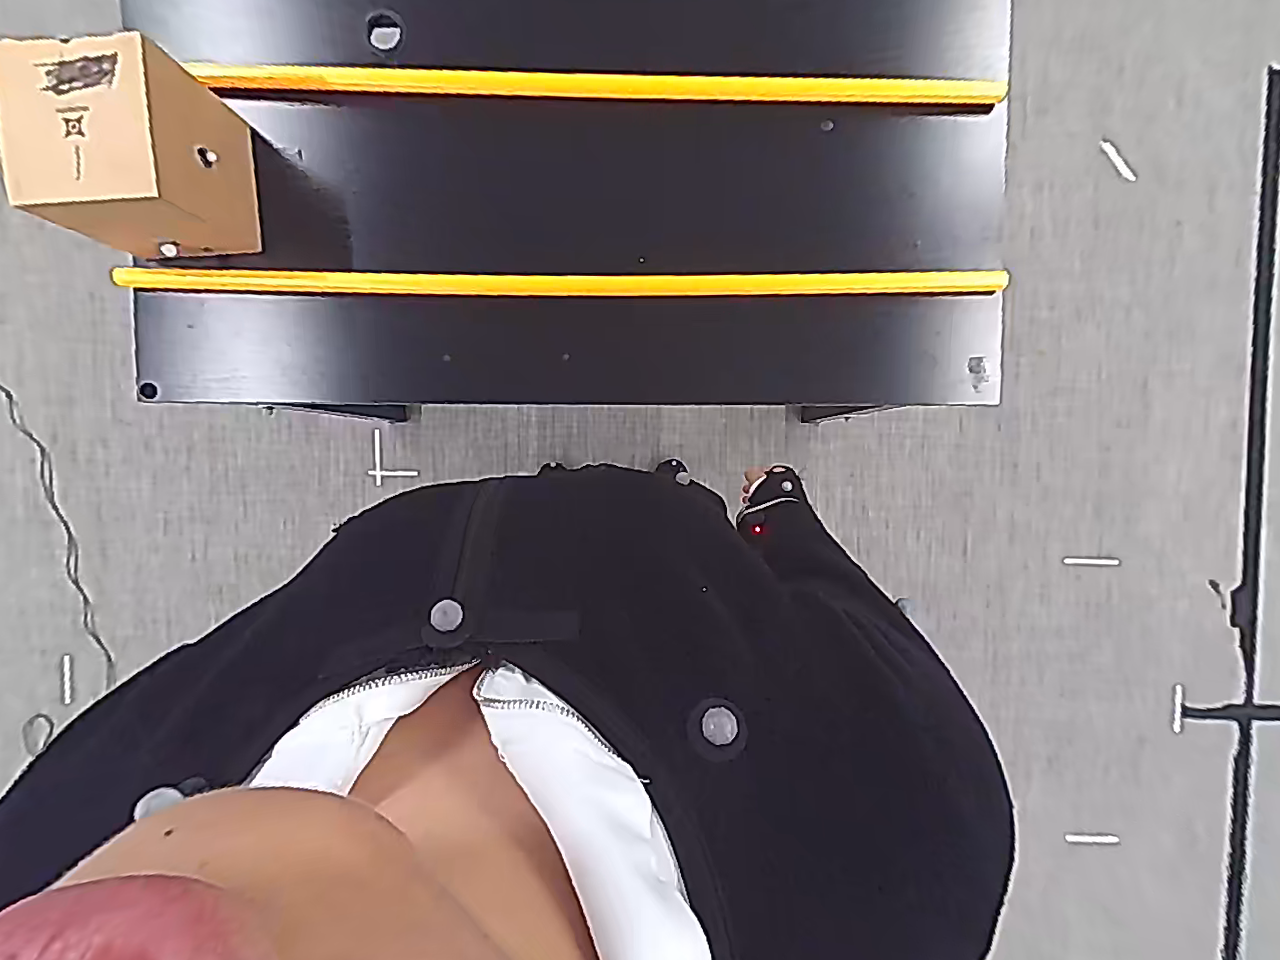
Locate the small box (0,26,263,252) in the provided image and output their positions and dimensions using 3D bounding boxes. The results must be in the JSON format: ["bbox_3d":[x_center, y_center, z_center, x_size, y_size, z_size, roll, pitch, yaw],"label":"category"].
[{"bbox_3d":[-0.601,-0.400,0.660,0.168,0.176,0.179,-3,94,0],"label":"small box"}]
